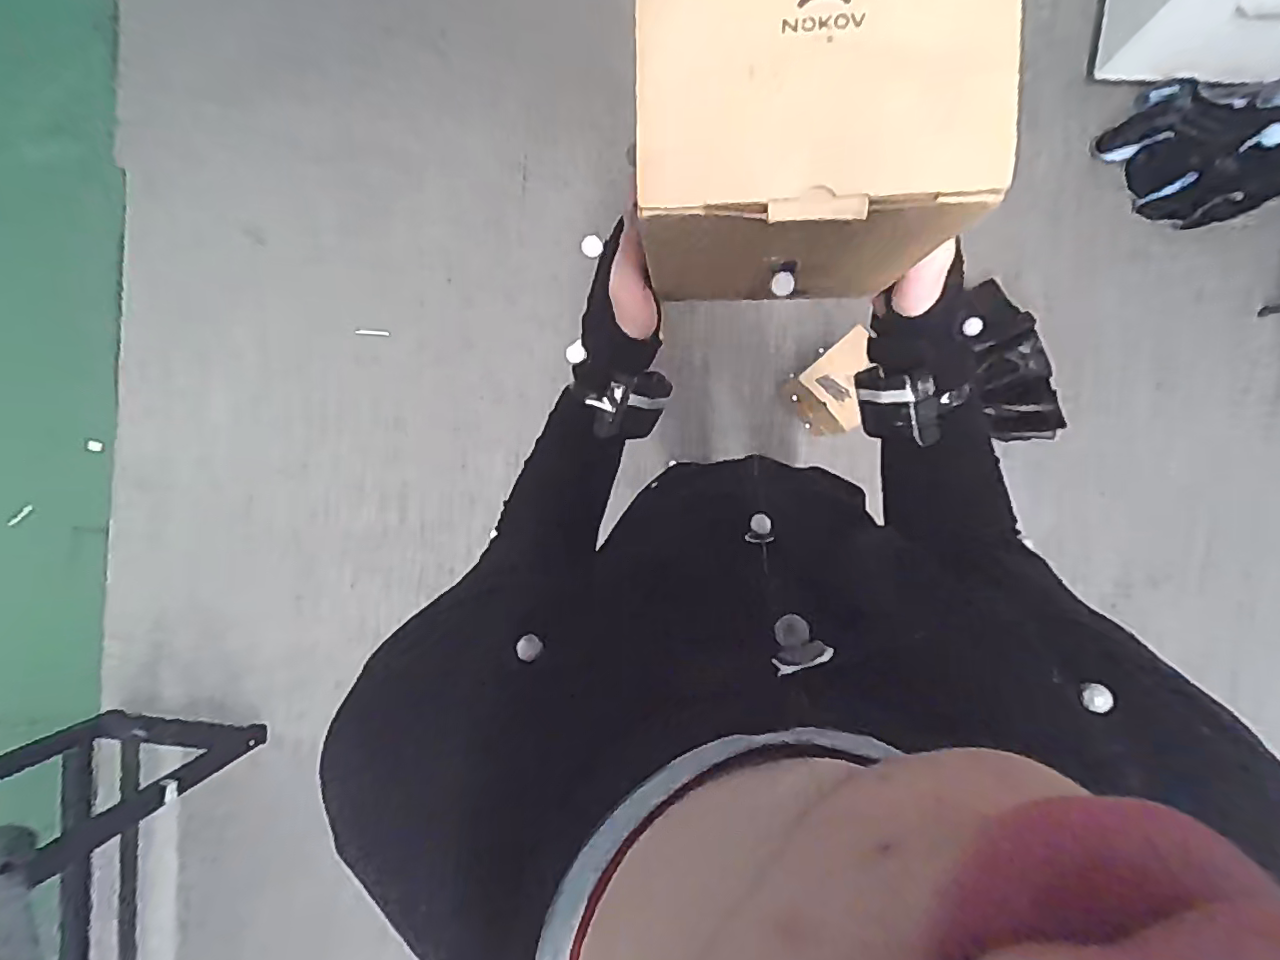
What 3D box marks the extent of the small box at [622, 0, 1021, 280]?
[{"bbox_3d":[0.079,-0.217,0.304,0.168,0.176,0.179,0,97,2],"label":"small box"}]
